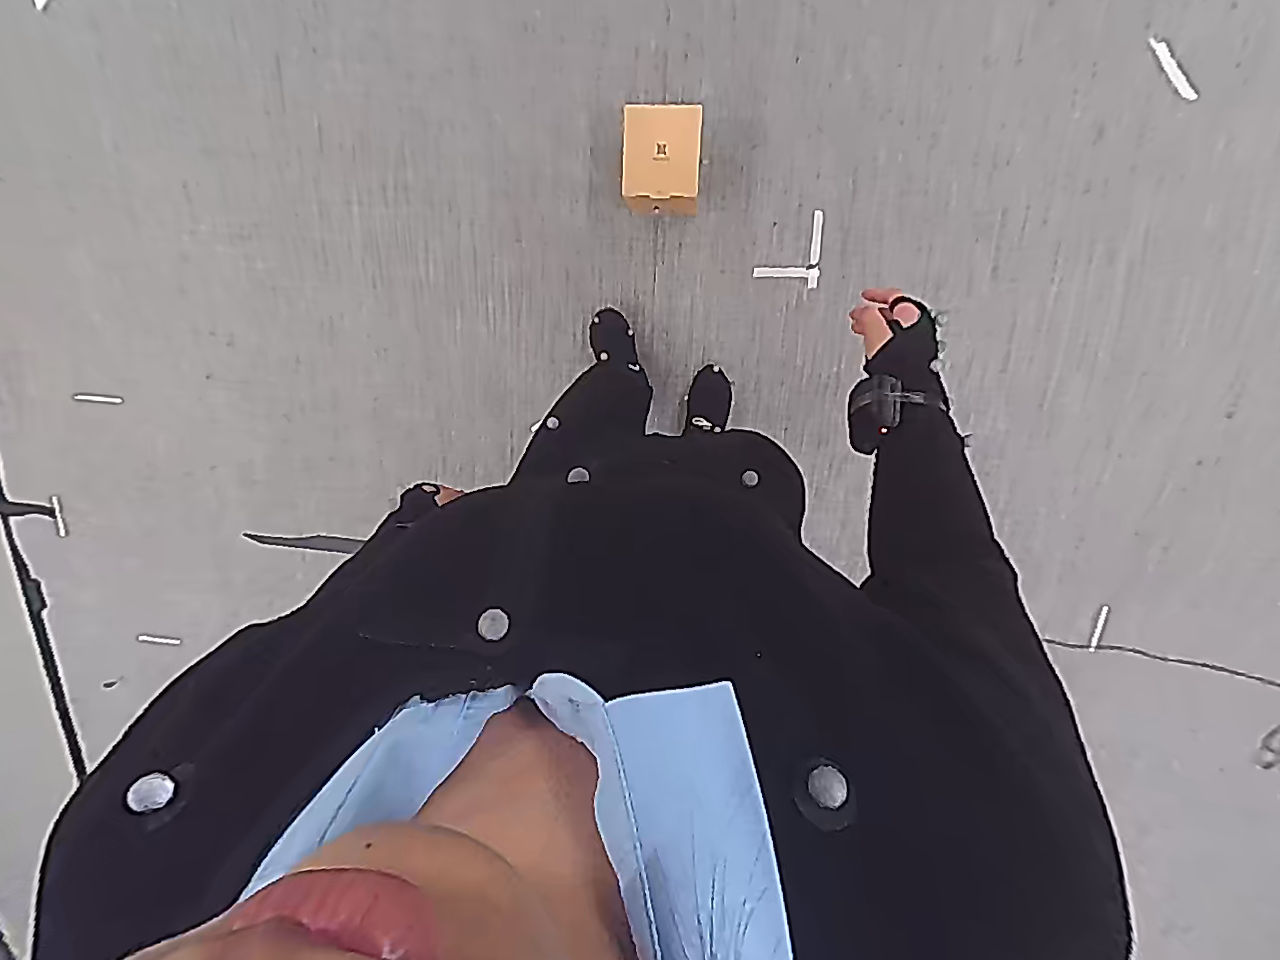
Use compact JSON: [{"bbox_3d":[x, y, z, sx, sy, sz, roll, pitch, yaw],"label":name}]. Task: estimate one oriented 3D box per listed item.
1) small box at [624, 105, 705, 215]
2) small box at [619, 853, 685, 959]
[{"bbox_3d":[0.057,-0.714,1.218,0.168,0.176,0.179,3,106,5],"label":"small box"},{"bbox_3d":[0.039,1.213,1.535,0.168,0.176,0.179,7,105,3],"label":"small box"}]
